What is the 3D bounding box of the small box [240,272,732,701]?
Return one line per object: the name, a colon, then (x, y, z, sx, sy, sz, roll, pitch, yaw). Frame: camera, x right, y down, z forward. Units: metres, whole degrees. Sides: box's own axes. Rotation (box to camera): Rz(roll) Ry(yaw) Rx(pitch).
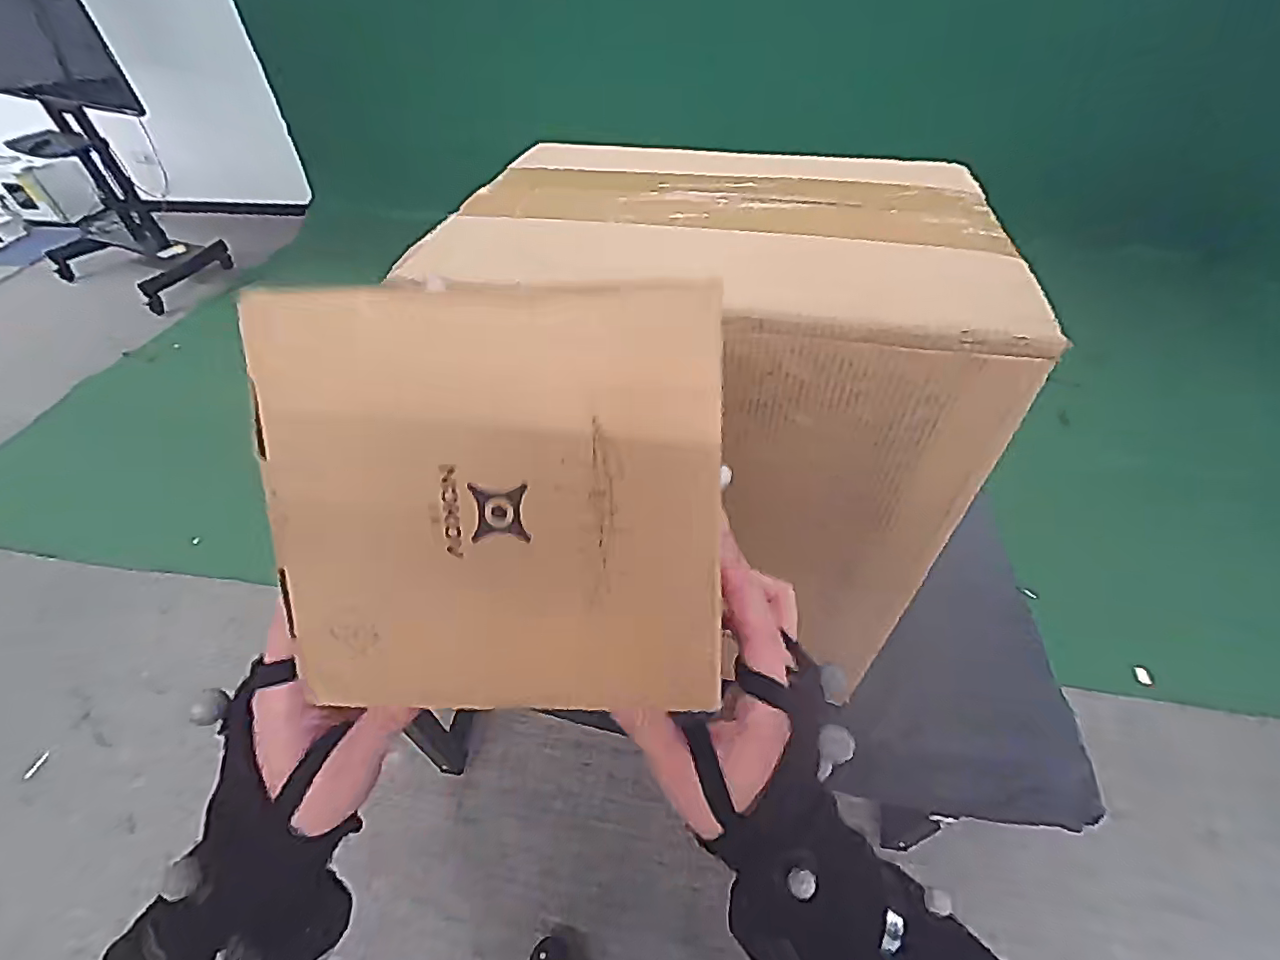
small box: (-0.052, -0.008, 0.282, 0.179, 0.168, 0.176, -1, 13, 1)
